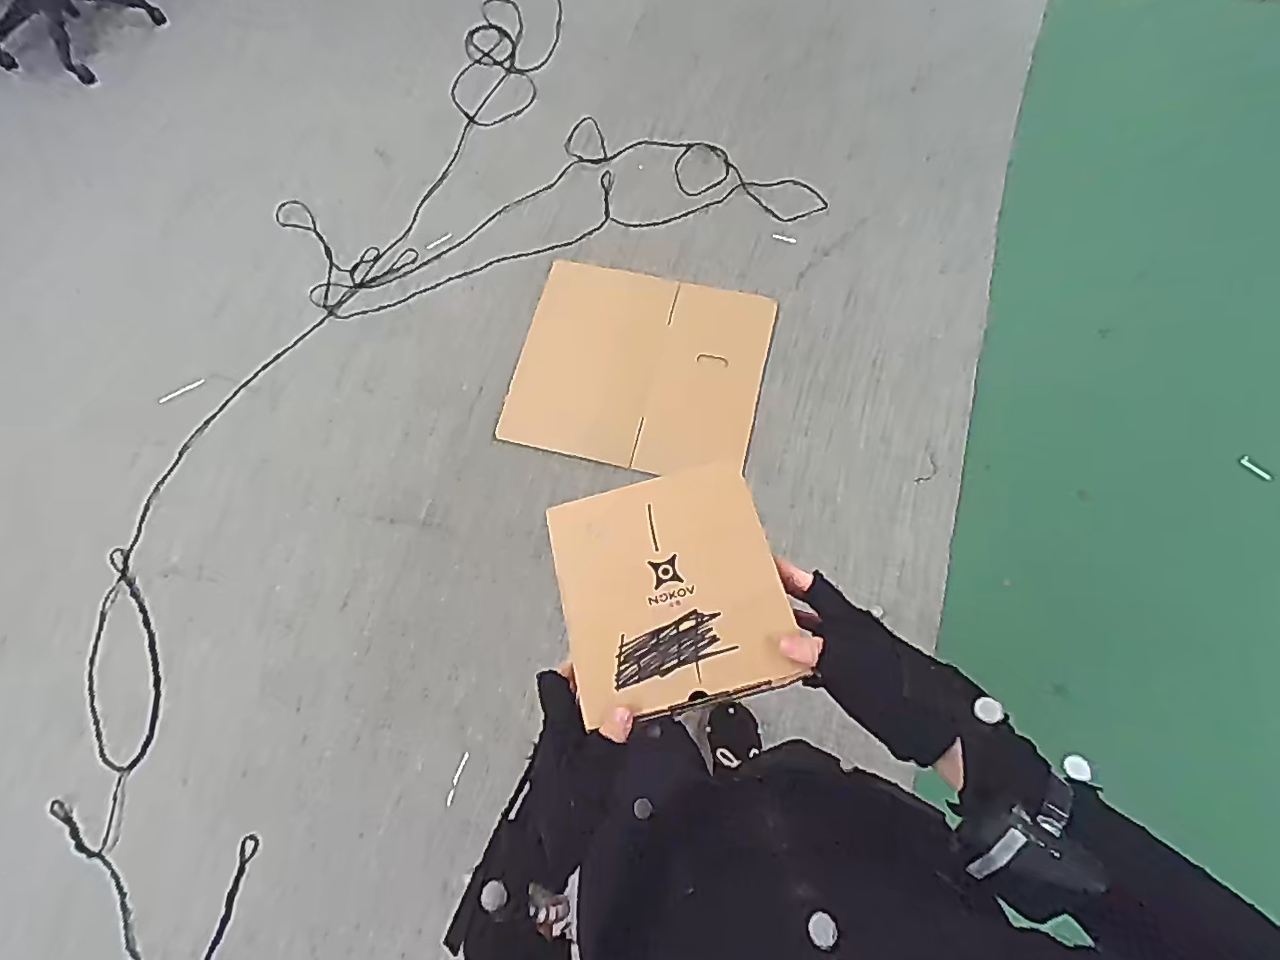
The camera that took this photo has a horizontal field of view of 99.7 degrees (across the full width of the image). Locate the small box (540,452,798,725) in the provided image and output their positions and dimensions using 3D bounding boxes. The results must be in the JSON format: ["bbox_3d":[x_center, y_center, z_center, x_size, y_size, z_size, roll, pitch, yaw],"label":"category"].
[{"bbox_3d":[0.026,0.104,0.481,0.168,0.176,0.179,-16,65,1],"label":"small box"}]
